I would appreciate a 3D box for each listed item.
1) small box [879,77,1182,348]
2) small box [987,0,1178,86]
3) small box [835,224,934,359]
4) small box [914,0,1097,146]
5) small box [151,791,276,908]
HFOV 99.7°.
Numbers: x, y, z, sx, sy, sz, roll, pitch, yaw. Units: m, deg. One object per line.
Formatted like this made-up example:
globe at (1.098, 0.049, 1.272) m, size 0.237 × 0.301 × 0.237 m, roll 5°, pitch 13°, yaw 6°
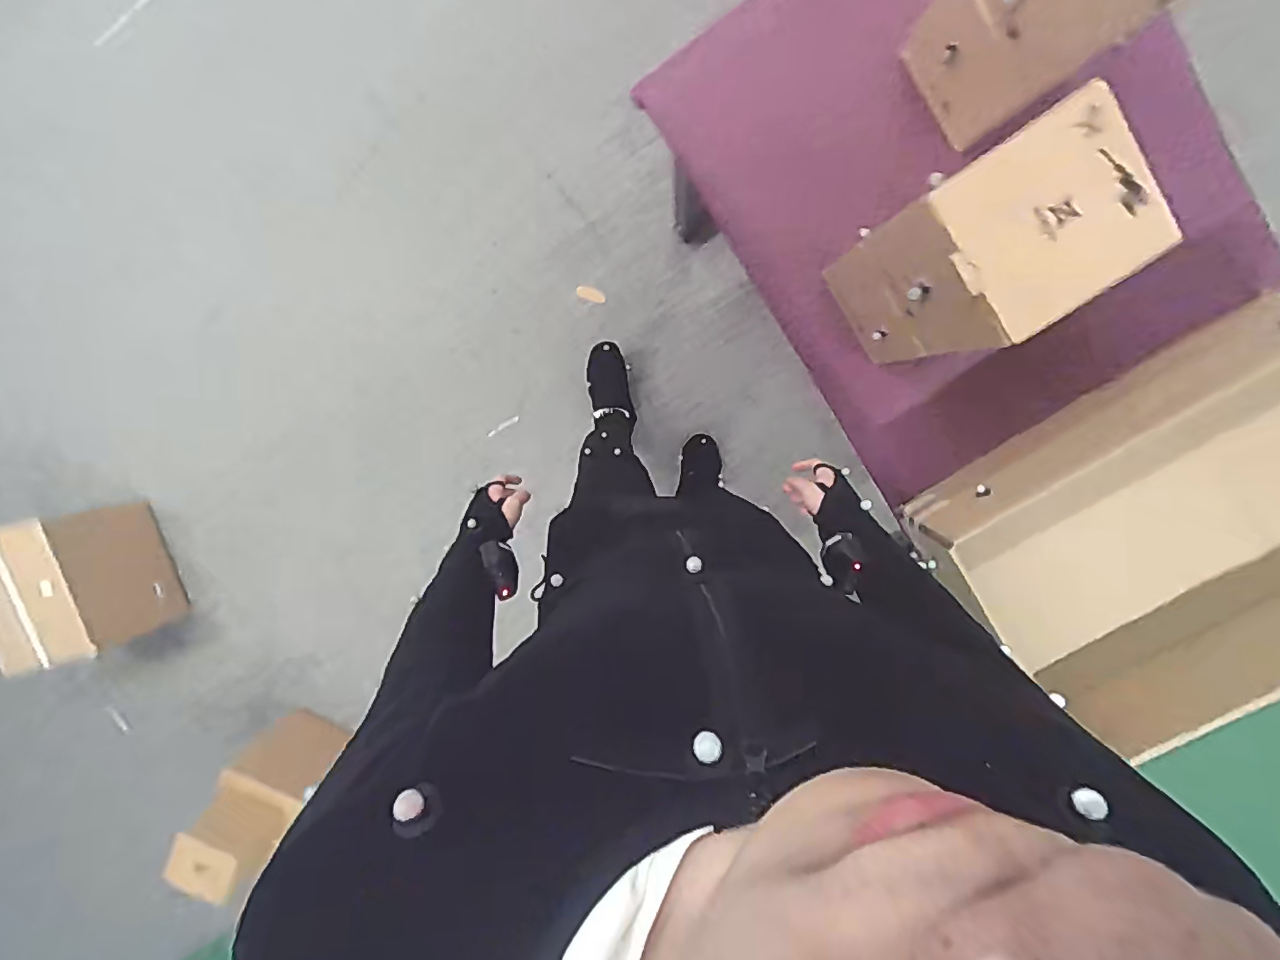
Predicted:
small box at (0.382, -0.256, 0.572) m, size 0.179 × 0.176 × 0.168 m, roll -32°, pitch 97°, yaw 8°
small box at (0.475, -0.542, 0.521) m, size 0.179 × 0.176 × 0.168 m, roll -29°, pitch 96°, yaw 8°
small box at (0.388, -0.279, 0.734) m, size 0.179 × 0.176 × 0.168 m, roll -32°, pitch 96°, yaw 6°
small box at (0.480, -0.572, 0.683) m, size 0.179 × 0.176 × 0.168 m, roll -34°, pitch 95°, yaw 8°
small box at (-1.139, 0.980, 1.454) m, size 0.179 × 0.176 × 0.168 m, roll 25°, pitch 99°, yaw -1°
